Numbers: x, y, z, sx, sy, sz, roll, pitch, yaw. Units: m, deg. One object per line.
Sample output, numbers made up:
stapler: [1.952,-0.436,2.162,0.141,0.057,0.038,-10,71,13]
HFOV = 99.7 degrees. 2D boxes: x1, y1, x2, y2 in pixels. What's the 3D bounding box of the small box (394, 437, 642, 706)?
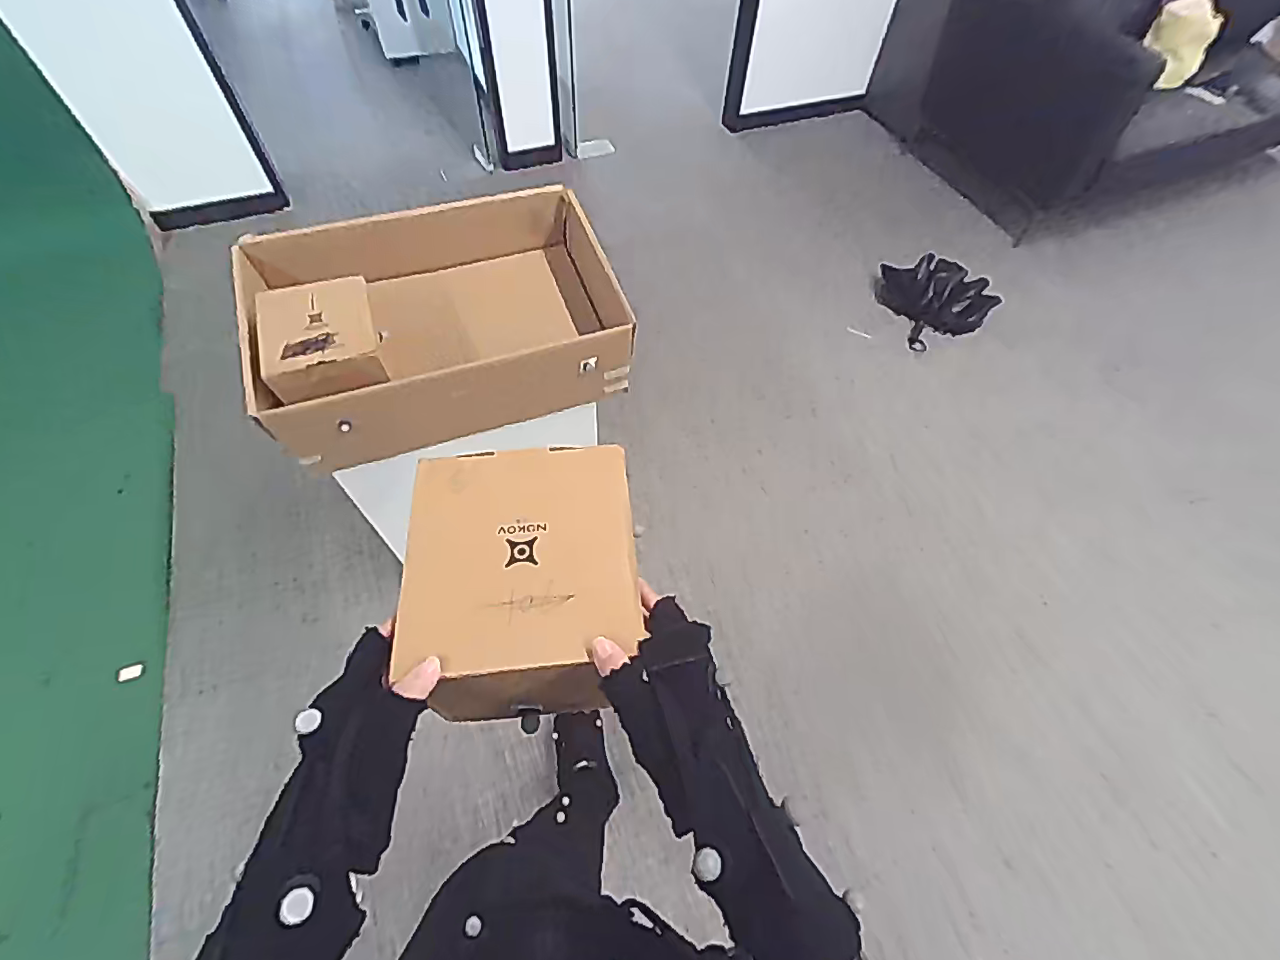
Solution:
small box: [-0.090,0.083,0.468,0.168,0.176,0.179,-4,58,-5]
